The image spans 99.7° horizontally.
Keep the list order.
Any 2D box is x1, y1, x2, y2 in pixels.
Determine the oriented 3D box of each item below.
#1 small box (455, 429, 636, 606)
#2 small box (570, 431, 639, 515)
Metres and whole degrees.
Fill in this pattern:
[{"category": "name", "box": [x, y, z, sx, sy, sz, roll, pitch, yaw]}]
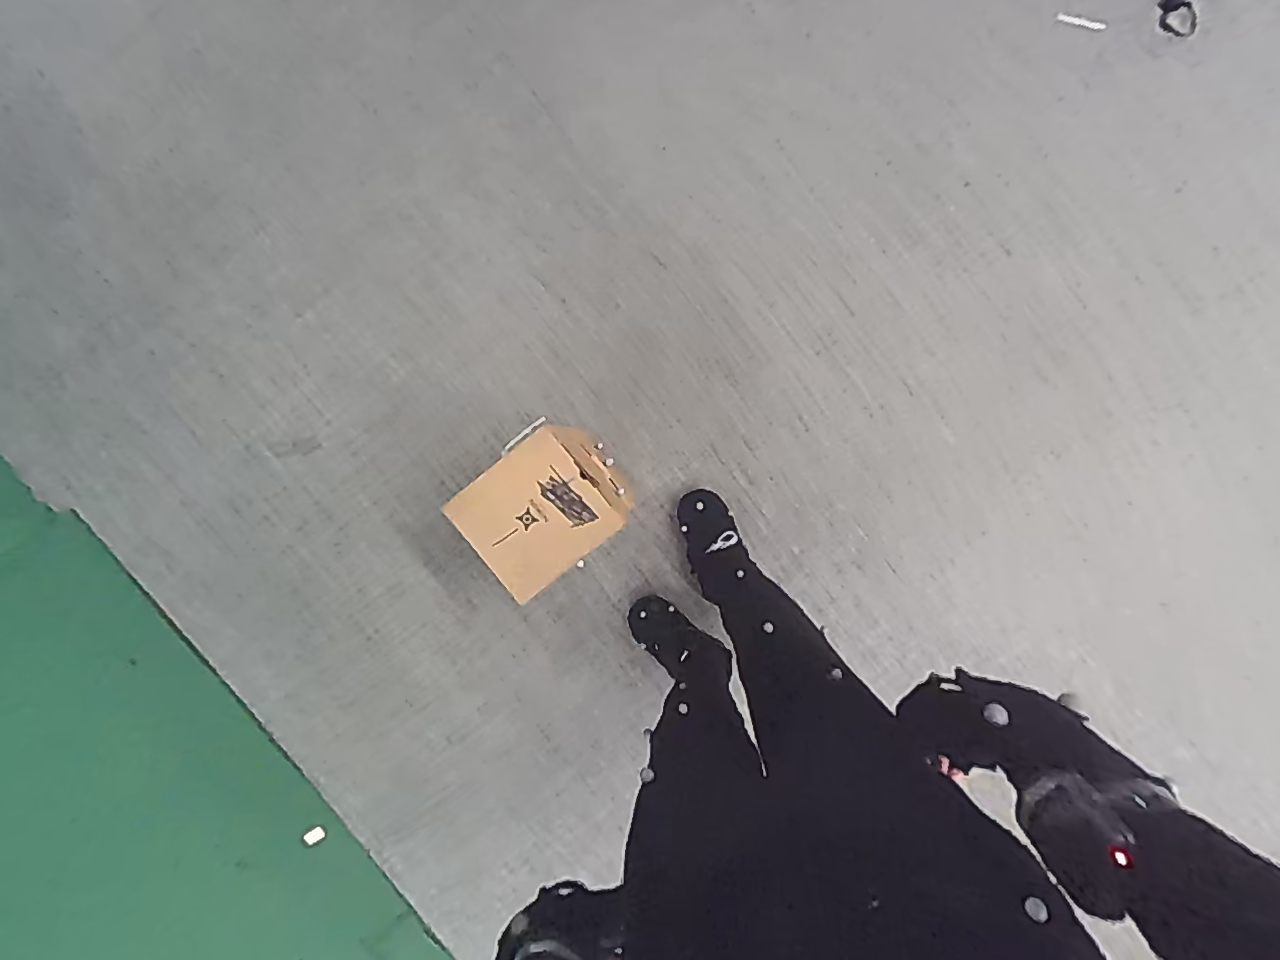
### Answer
[{"category": "small box", "box": [-0.124, 0.043, 0.774, 0.179, 0.176, 0.168, -41, 93, 3]}, {"category": "small box", "box": [-0.118, 0.030, 0.938, 0.179, 0.176, 0.168, -39, 93, 3]}]
